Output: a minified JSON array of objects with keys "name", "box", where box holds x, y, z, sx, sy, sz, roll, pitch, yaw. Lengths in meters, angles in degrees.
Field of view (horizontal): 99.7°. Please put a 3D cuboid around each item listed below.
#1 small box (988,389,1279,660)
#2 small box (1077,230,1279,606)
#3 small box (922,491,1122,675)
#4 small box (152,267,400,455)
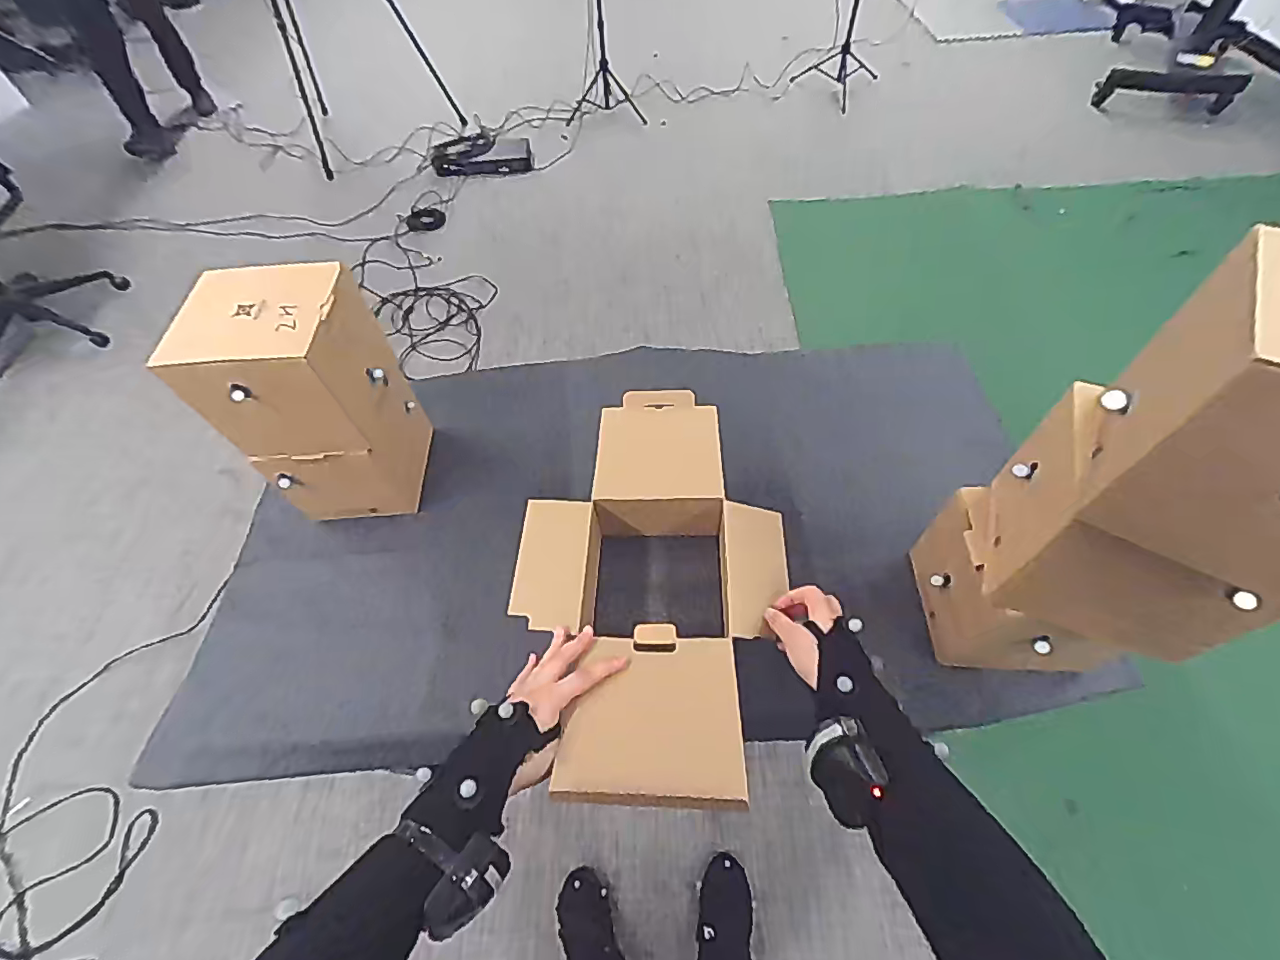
[{"name":"small box","box":[0.462,0.046,0.512,0.179,0.176,0.168,19,57,15]},{"name":"small box","box":[0.454,-0.030,0.365,0.179,0.176,0.168,28,60,21]},{"name":"small box","box":[0.466,0.128,0.654,0.179,0.176,0.168,1,54,5]},{"name":"small box","box":[-0.437,-0.144,0.687,0.179,0.176,0.168,-3,58,0]}]
